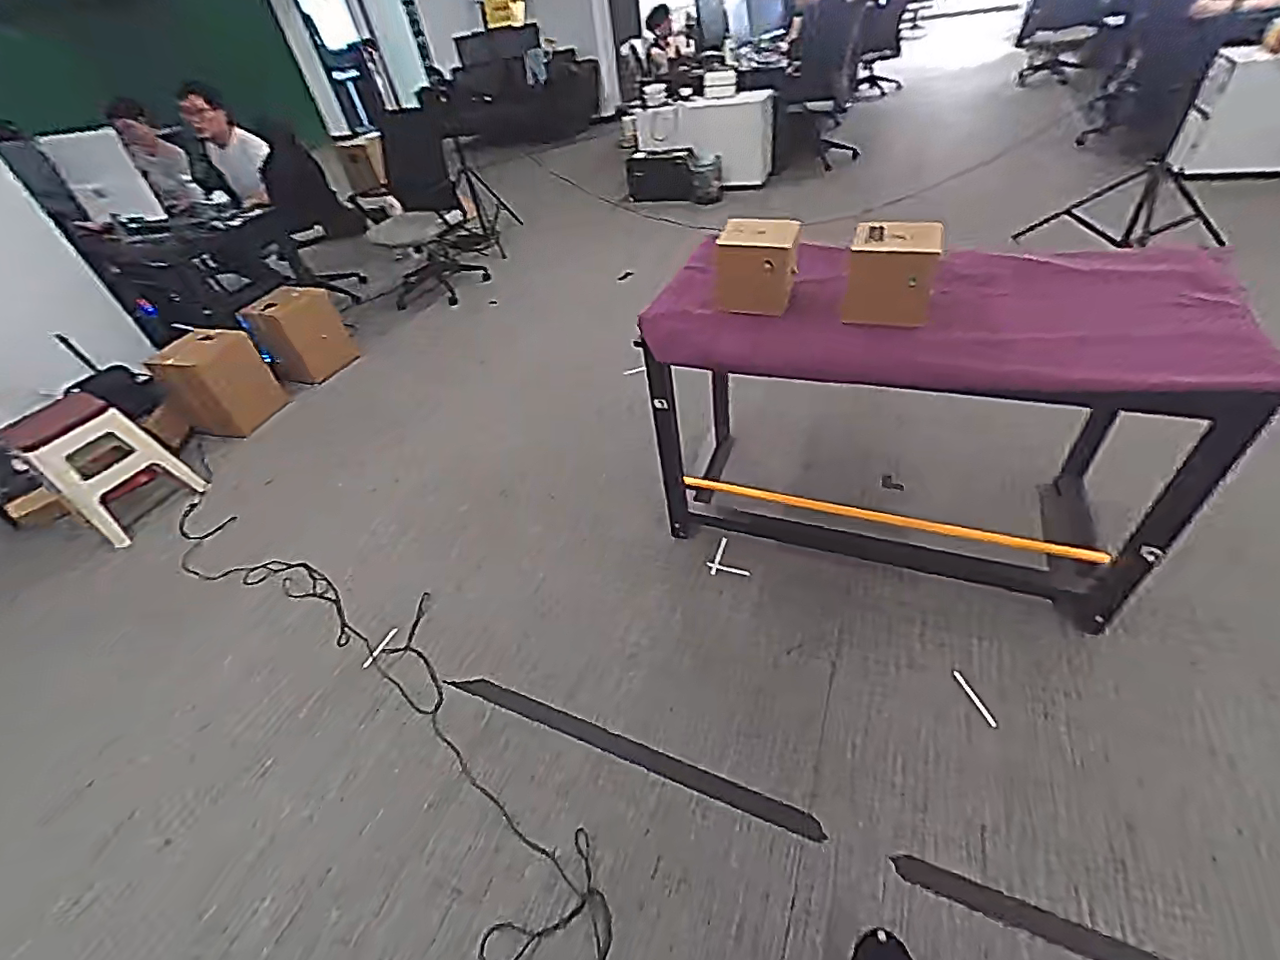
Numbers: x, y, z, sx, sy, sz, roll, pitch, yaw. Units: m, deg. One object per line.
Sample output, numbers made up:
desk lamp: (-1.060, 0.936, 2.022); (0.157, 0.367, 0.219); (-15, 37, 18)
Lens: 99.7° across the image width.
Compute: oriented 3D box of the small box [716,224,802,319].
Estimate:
small box: (0.291, -0.514, 1.338); (0.179, 0.176, 0.168); (11, 46, 18)
